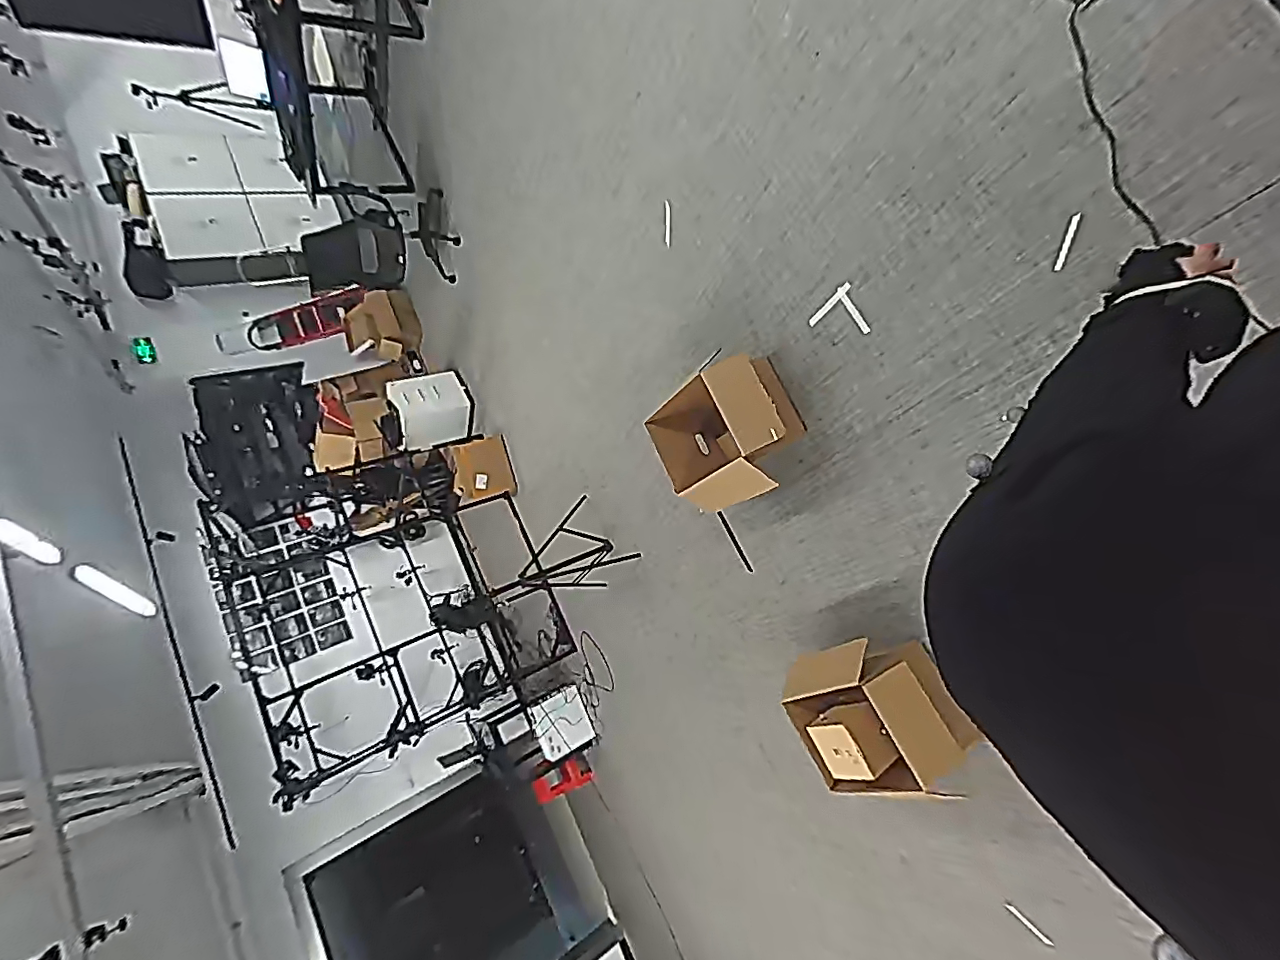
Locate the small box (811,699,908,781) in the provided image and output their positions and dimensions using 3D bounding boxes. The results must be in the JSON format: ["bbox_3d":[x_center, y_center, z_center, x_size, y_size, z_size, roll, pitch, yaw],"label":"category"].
[{"bbox_3d":[0.667,0.786,1.643,0.168,0.176,0.179,62,148,14],"label":"small box"}]
